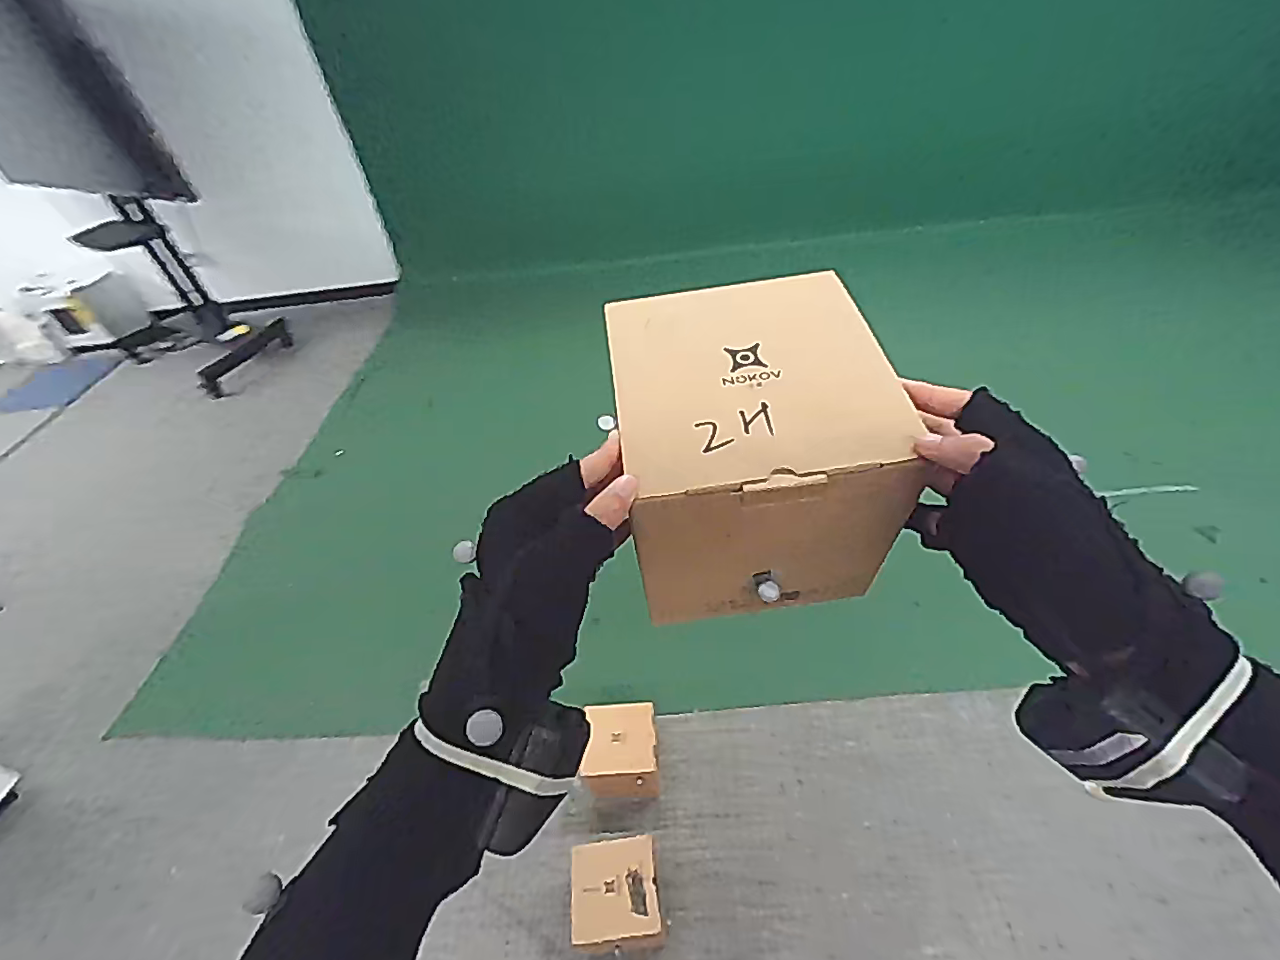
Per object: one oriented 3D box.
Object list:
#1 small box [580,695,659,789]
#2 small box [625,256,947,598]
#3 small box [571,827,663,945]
[{"bbox_3d":[-0.049,0.663,1.363,0.179,0.176,0.168,-5,44,2],"label":"small box"},{"bbox_3d":[0.081,-0.034,0.399,0.168,0.176,0.179,-8,53,1],"label":"small box"},{"bbox_3d":[-0.046,0.863,1.149,0.179,0.176,0.168,-9,43,0],"label":"small box"}]
